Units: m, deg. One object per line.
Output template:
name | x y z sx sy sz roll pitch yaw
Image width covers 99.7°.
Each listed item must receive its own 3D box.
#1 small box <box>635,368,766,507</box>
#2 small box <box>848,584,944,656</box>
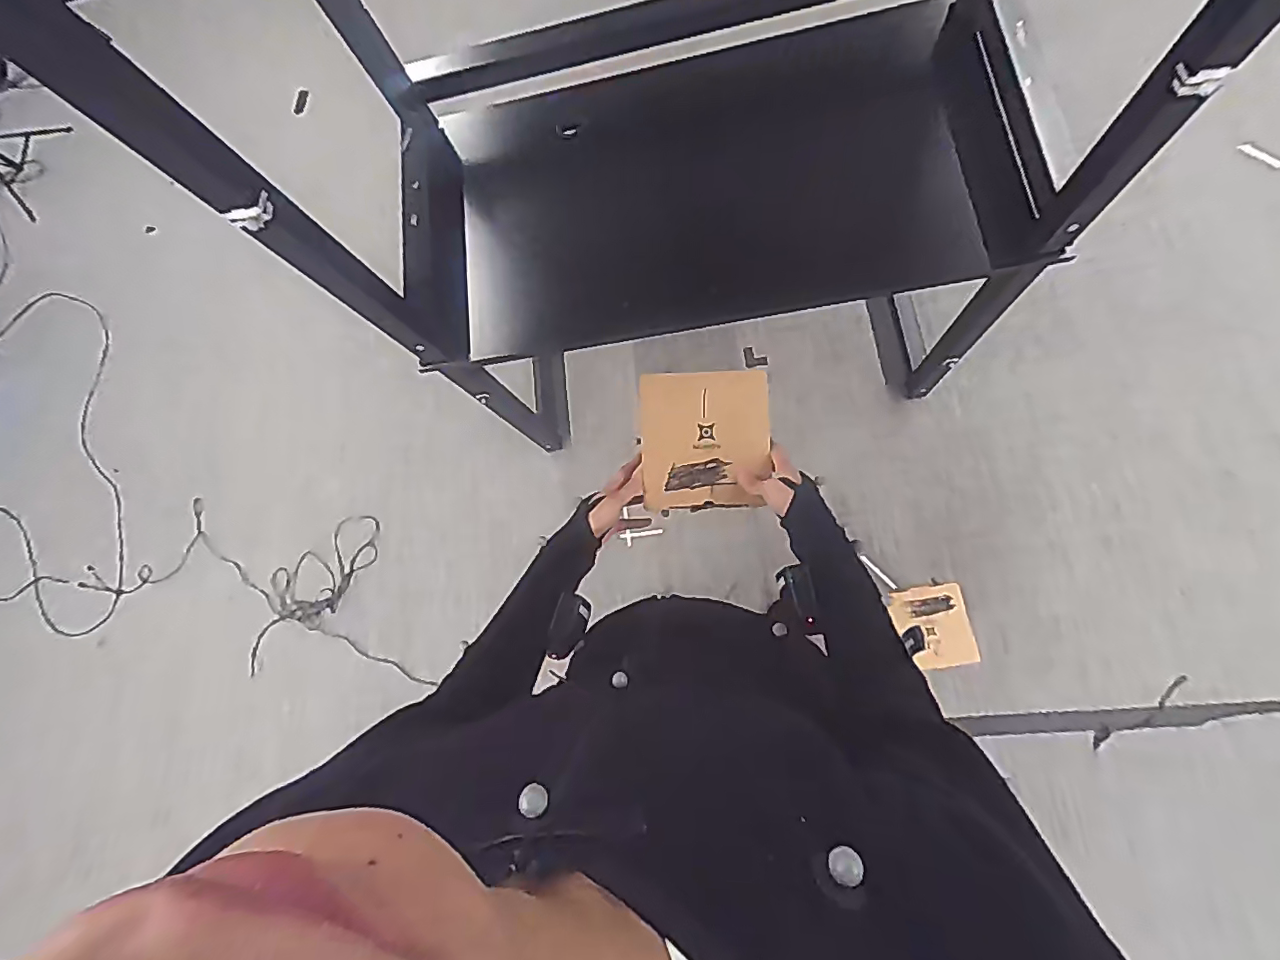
small box | 0.078 -0.052 0.765 0.168 0.176 0.179 -1 87 0
small box | 0.673 0.368 1.439 0.179 0.176 0.168 -9 77 8
